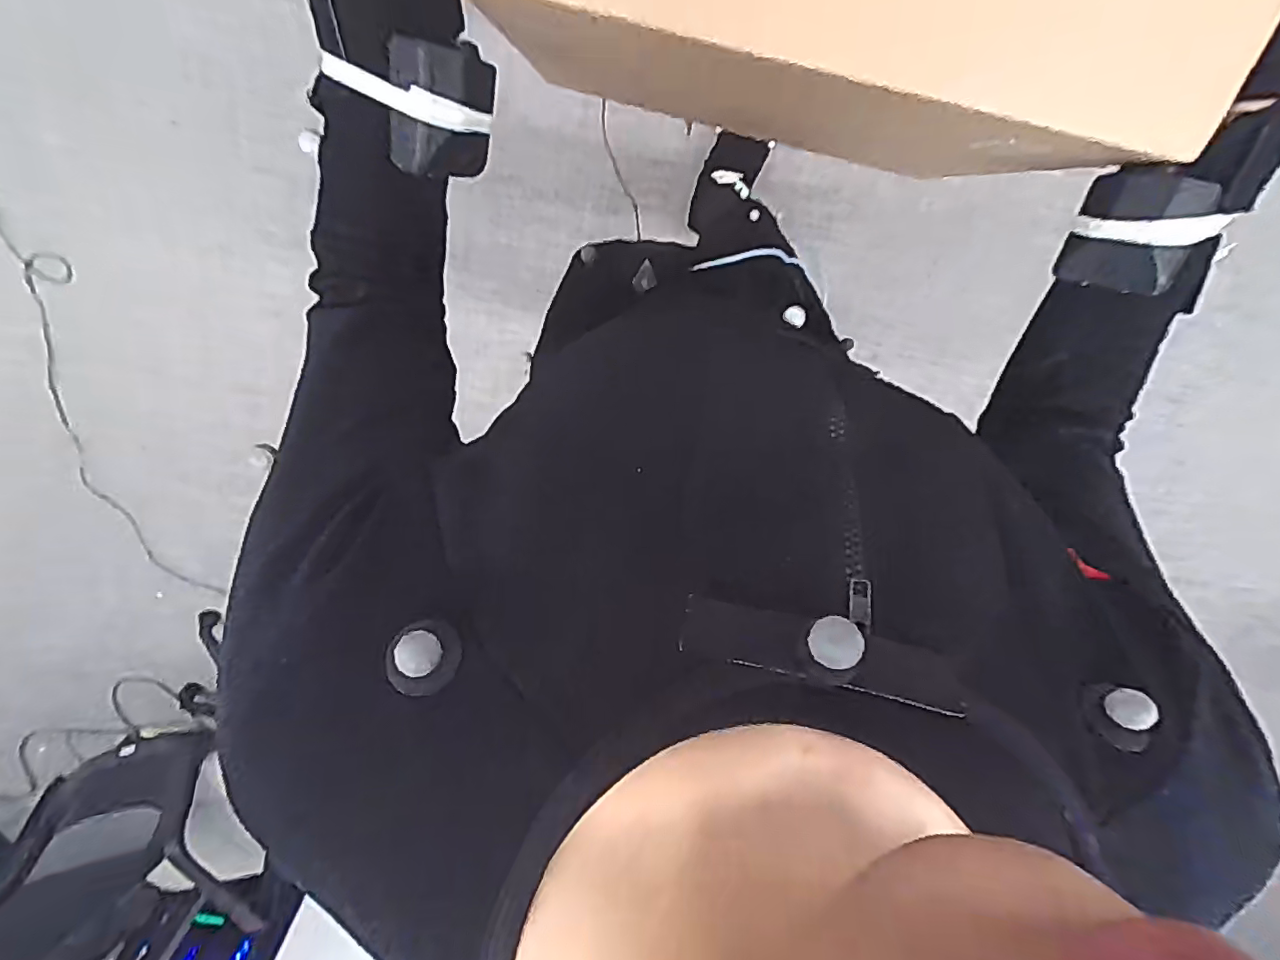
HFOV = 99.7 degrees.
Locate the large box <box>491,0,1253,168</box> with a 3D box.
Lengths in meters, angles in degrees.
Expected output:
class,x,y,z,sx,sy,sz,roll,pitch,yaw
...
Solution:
class,x,y,z,sx,sy,sz,roll,pitch,yaw
large box,0.131,-0.421,0.347,0.408,0.320,0.320,11,118,-5
